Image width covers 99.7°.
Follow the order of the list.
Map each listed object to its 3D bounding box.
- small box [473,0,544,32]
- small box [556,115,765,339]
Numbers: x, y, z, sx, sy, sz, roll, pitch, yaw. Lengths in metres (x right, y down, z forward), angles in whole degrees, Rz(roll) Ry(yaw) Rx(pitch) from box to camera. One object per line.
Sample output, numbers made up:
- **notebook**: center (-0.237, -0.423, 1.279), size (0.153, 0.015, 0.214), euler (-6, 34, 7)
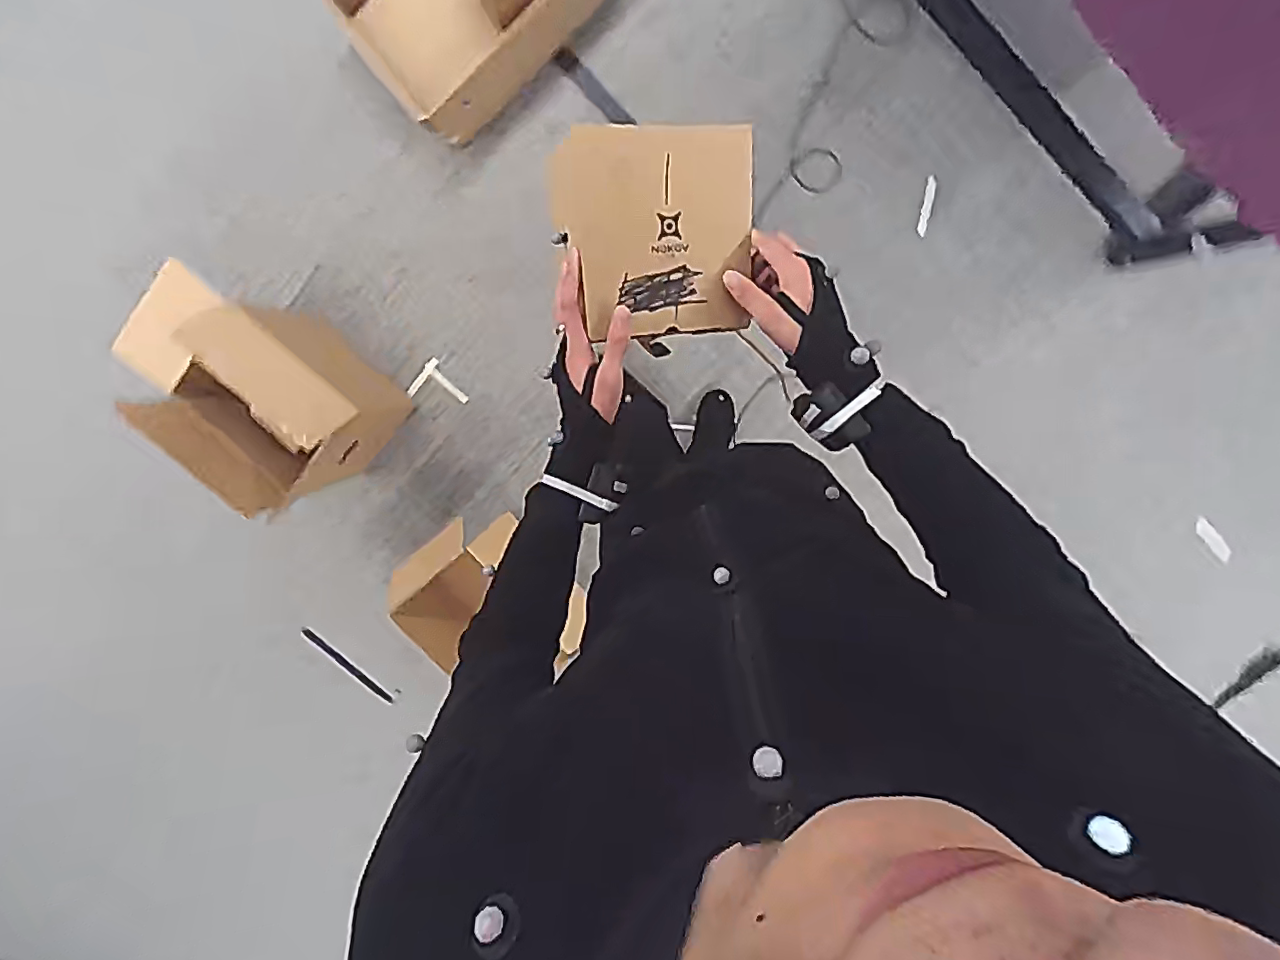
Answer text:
- **small box**: center (-0.337, -1.189, 1.242), size (0.168, 0.176, 0.179), euler (-31, 99, 10)
- **small box**: center (0.011, -0.245, 0.550), size (0.168, 0.176, 0.179), euler (-8, 110, -14)
